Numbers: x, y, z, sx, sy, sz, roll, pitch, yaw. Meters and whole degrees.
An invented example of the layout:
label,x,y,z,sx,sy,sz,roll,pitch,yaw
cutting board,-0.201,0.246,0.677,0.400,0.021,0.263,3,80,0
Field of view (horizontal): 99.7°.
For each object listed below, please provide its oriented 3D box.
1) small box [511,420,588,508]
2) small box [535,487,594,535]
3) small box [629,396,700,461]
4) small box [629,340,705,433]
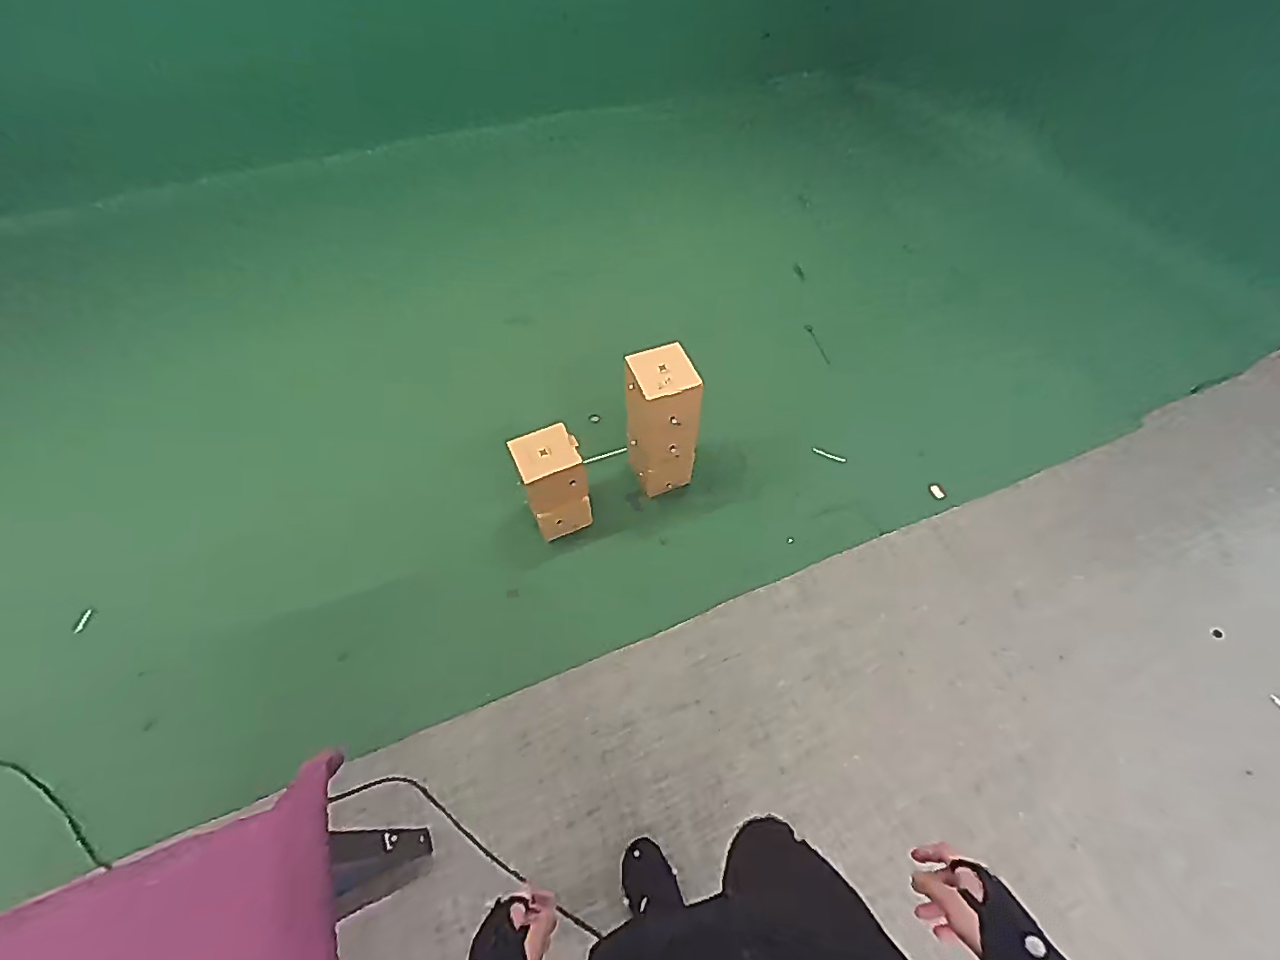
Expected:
label,x,y,z,sx,sy,sz,roll,pitch,yaw
small box,-0.262,-0.045,1.602,0.179,0.176,0.168,-22,59,-13
small box,-0.256,0.055,1.731,0.168,0.176,0.179,-22,59,-13
small box,0.073,-0.177,1.684,0.168,0.176,0.179,-18,61,-13
small box,0.070,-0.265,1.544,0.168,0.176,0.179,-18,60,-11
